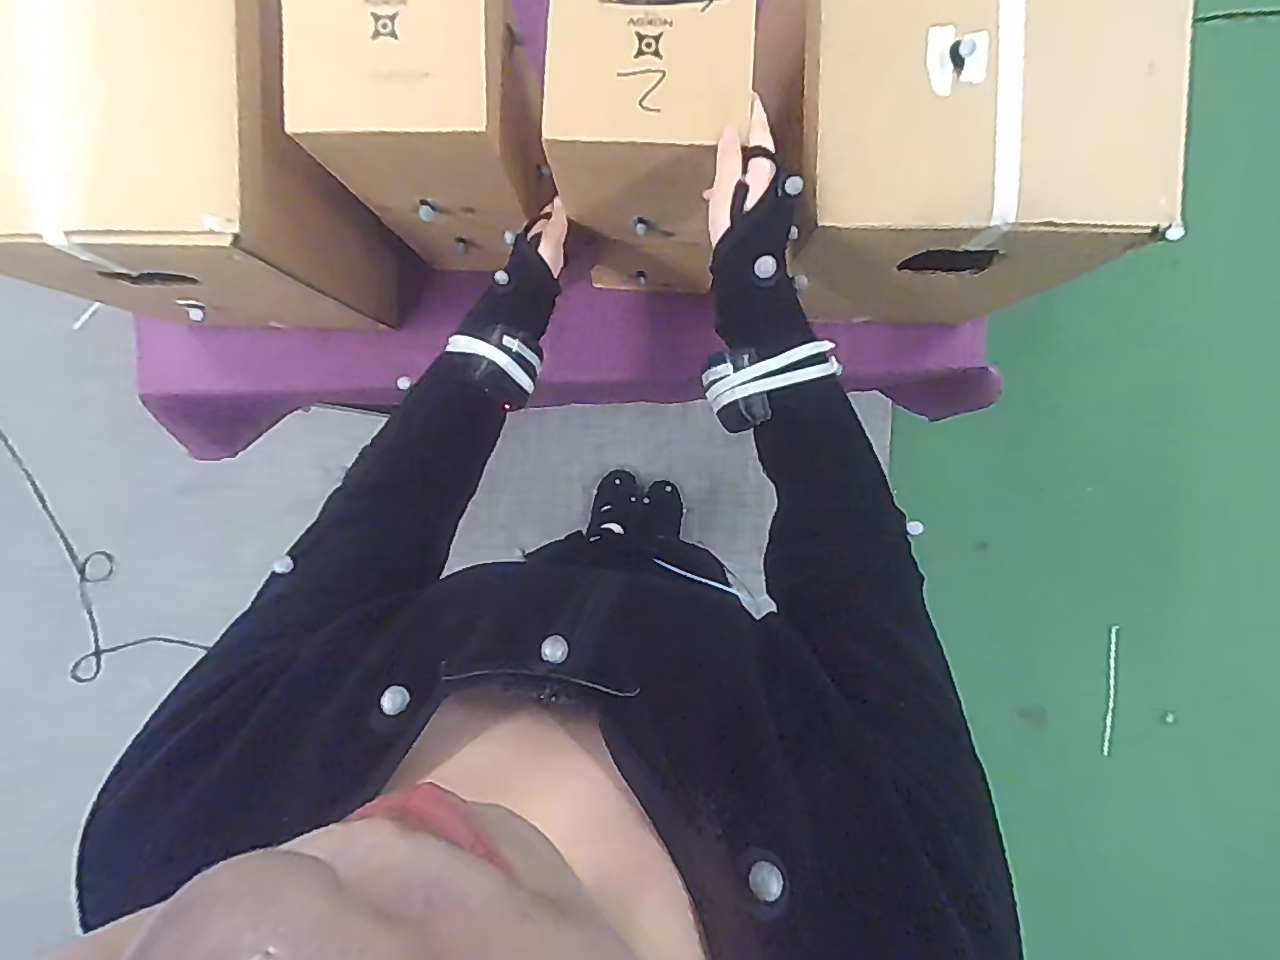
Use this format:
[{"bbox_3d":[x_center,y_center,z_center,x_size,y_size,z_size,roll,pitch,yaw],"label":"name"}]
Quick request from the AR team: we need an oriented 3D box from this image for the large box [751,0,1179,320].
[{"bbox_3d":[0.314,-0.423,0.616,0.320,0.320,0.408,1,93,0],"label":"large box"}]
